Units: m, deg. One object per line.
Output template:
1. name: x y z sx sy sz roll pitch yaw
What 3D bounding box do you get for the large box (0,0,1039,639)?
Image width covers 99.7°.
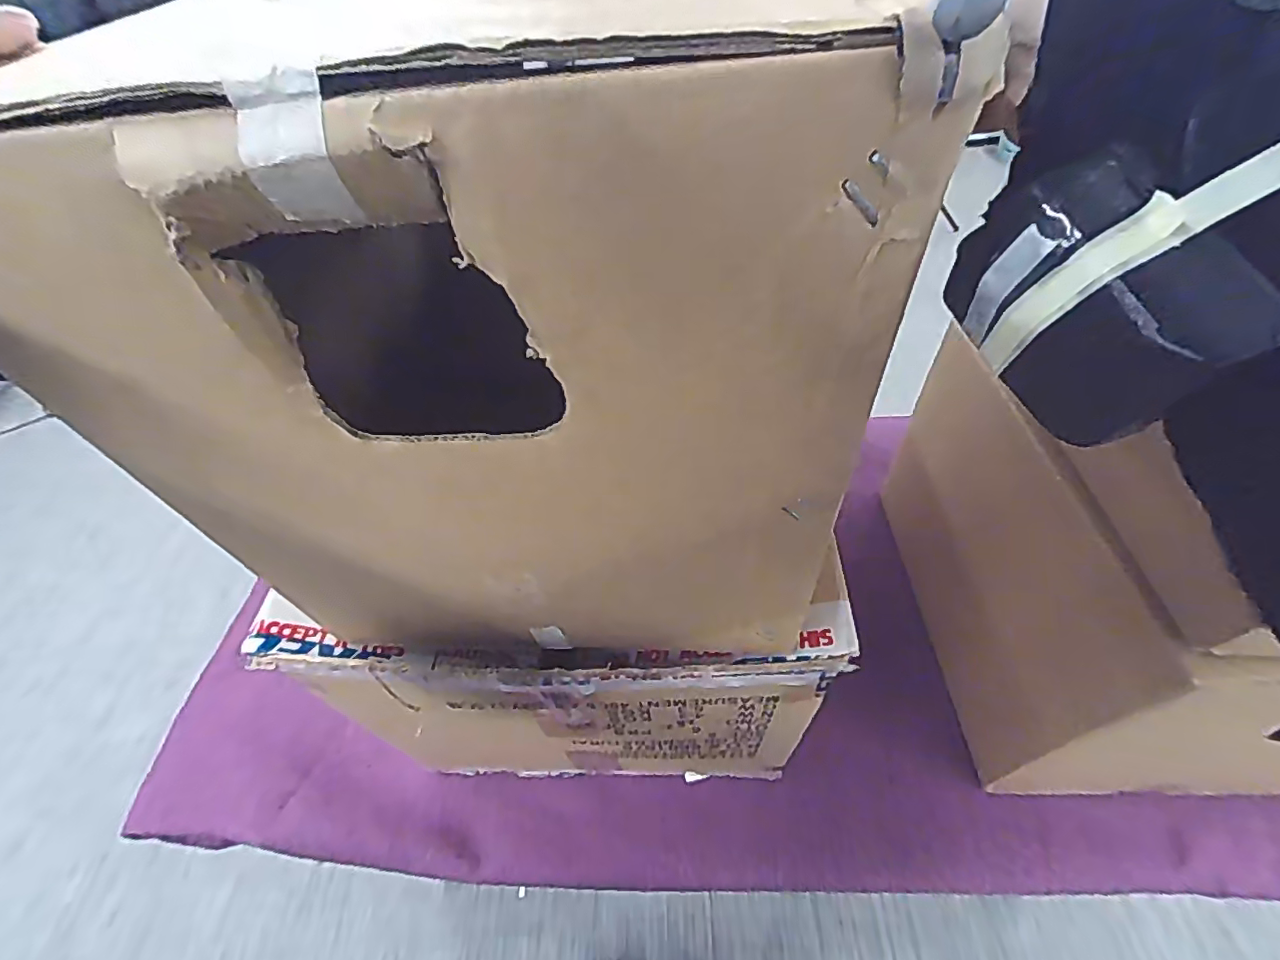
1. large box: -0.046 -0.142 0.368 0.320 0.320 0.408 -2 51 6
